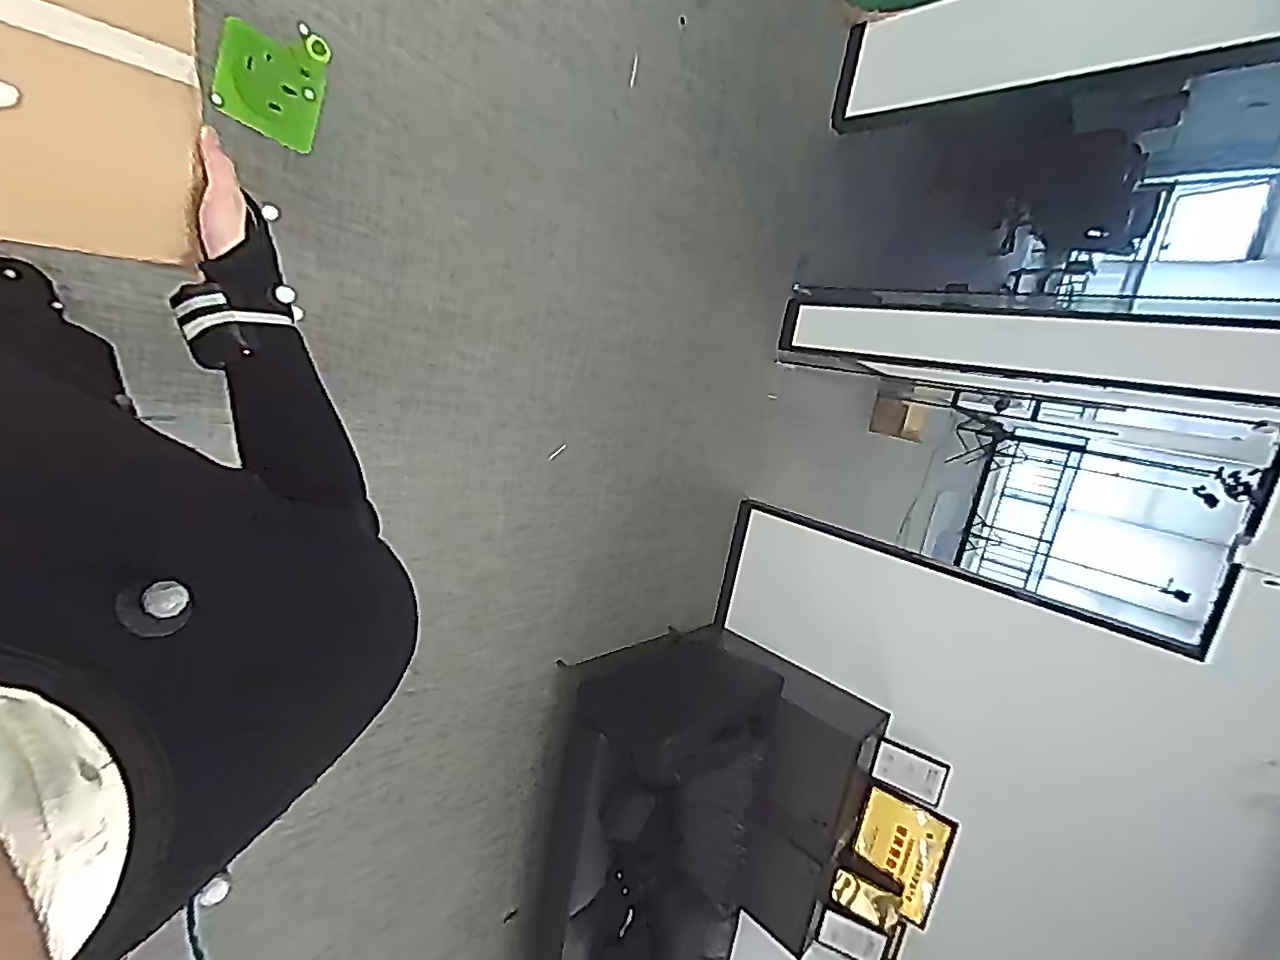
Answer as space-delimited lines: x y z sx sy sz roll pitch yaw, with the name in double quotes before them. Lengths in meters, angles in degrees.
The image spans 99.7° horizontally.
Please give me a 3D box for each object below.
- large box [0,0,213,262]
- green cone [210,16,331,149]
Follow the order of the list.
"large box" -0.610 -0.373 0.395 0.408 0.320 0.320 -11 122 -49
"green cone" -0.731 -0.866 1.136 0.200 0.368 0.202 9 97 -49
